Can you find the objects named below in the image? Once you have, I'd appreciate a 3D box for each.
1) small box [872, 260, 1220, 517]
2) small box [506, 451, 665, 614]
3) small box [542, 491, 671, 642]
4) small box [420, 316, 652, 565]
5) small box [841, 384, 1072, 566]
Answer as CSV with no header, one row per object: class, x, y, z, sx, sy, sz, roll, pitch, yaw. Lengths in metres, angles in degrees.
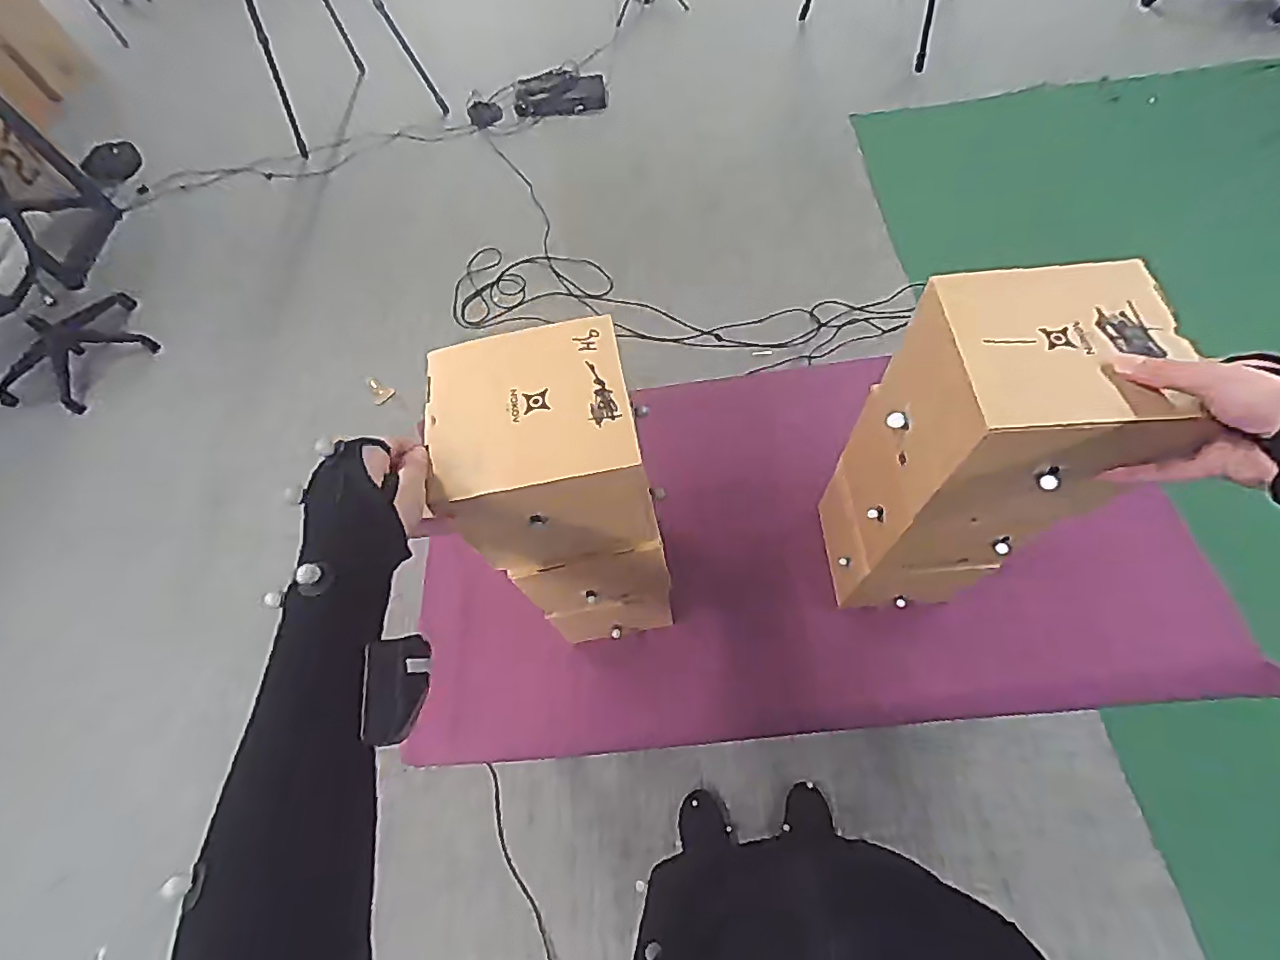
small box,0.340,-0.074,0.501,0.179,0.176,0.168,-3,61,6
small box,-0.068,0.050,0.679,0.168,0.176,0.179,-13,62,0
small box,-0.051,0.130,0.820,0.168,0.176,0.179,-11,61,2
small box,-0.094,-0.028,0.537,0.179,0.176,0.168,-12,62,2
small box,0.355,-0.003,0.648,0.168,0.176,0.179,-5,61,5
